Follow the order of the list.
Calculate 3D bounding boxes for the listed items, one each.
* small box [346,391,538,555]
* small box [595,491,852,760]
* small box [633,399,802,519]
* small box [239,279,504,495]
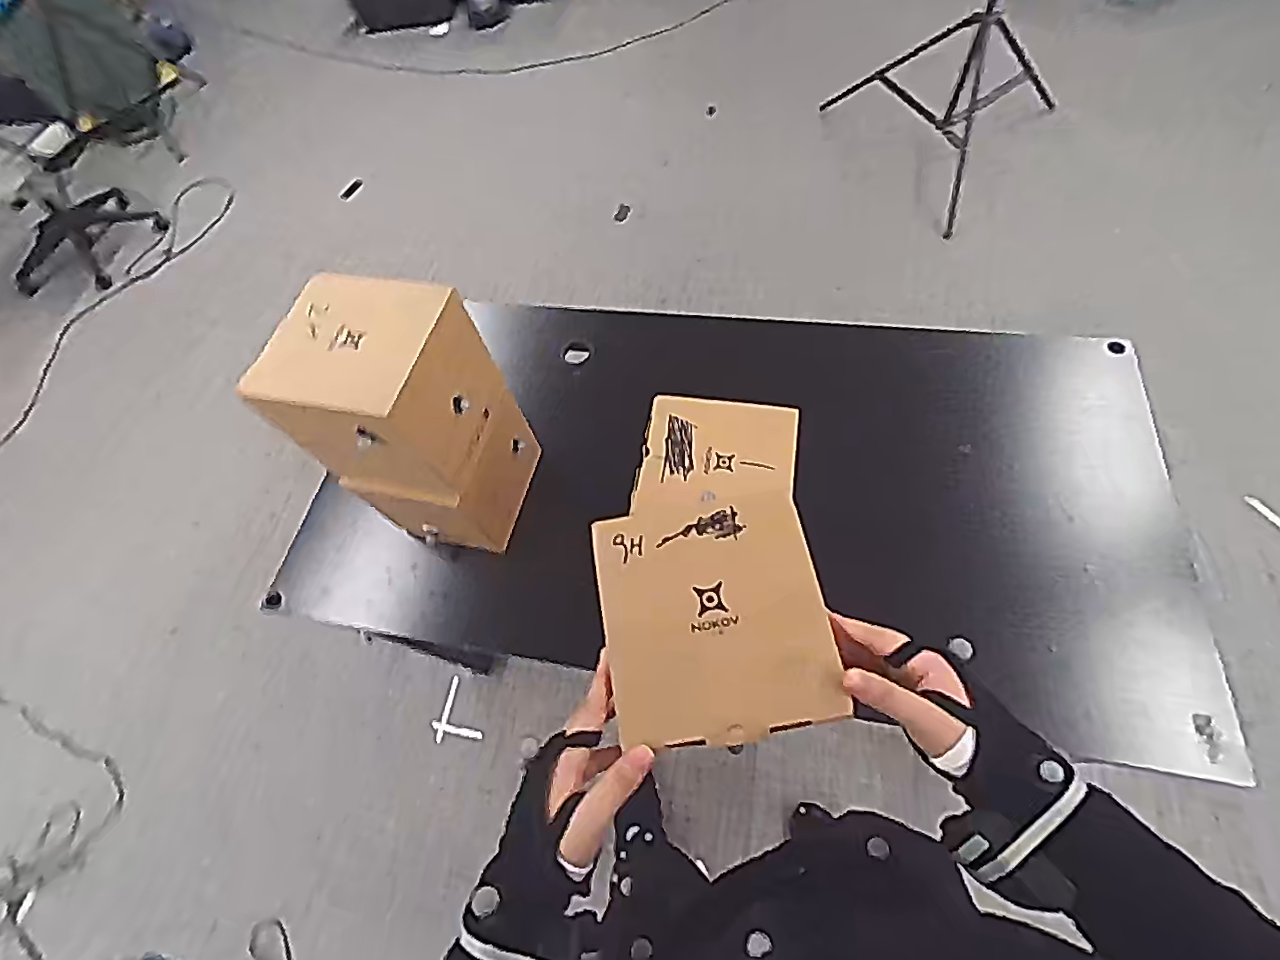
[{"bbox_3d":[-0.255,-0.015,0.751,0.168,0.176,0.179,9,65,12],"label":"small box"},{"bbox_3d":[0.067,0.130,0.480,0.168,0.176,0.179,-12,68,3],"label":"small box"},{"bbox_3d":[0.099,0.019,0.688,0.179,0.176,0.168,7,64,10],"label":"small box"},{"bbox_3d":[-0.277,-0.097,0.609,0.179,0.176,0.168,9,64,12],"label":"small box"}]
